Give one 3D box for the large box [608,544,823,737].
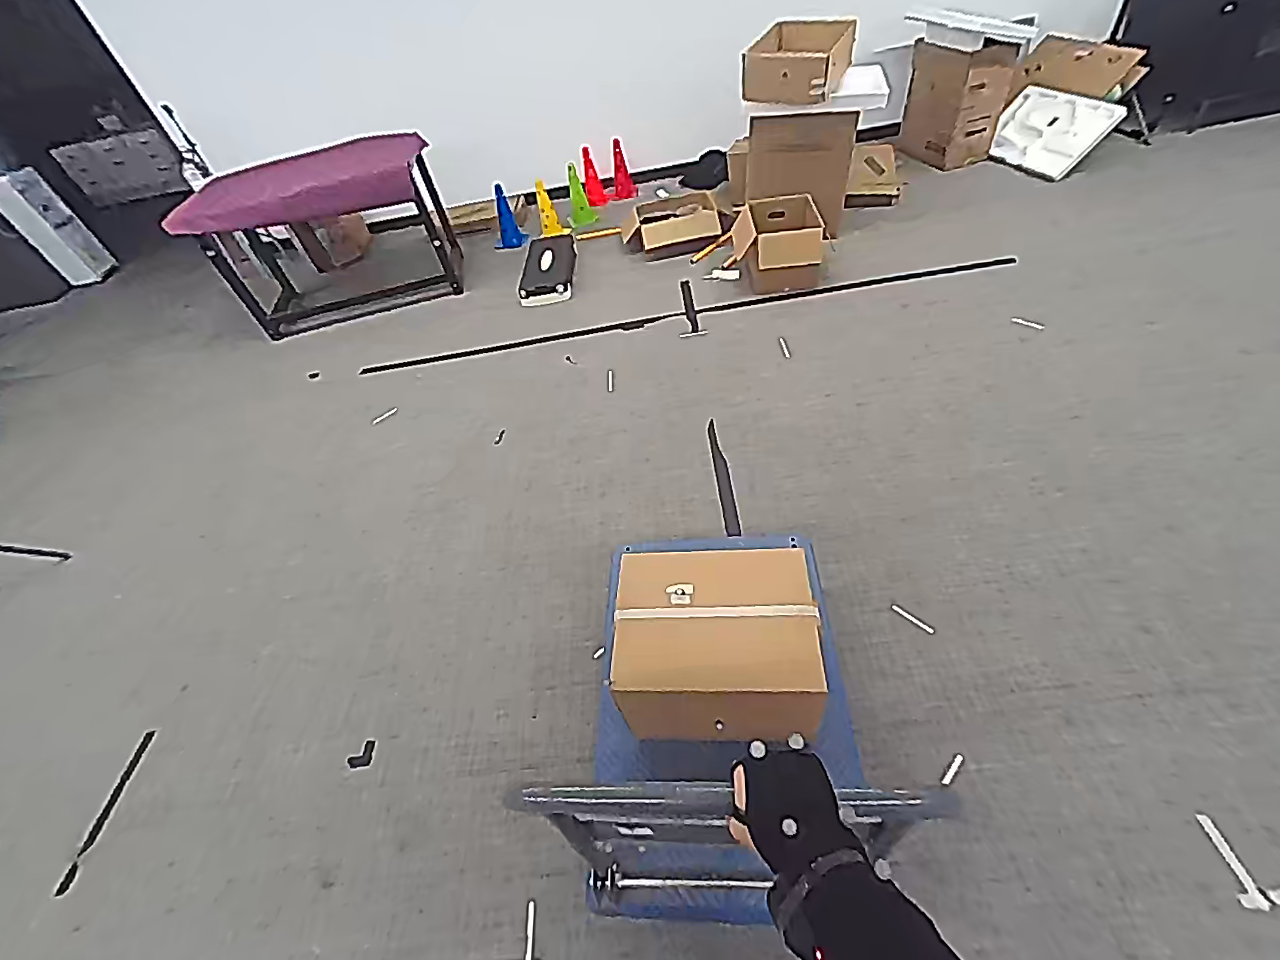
[{"bbox_3d":[0.167,0.366,1.204,0.408,0.320,0.320,-4,47,9],"label":"large box"}]
